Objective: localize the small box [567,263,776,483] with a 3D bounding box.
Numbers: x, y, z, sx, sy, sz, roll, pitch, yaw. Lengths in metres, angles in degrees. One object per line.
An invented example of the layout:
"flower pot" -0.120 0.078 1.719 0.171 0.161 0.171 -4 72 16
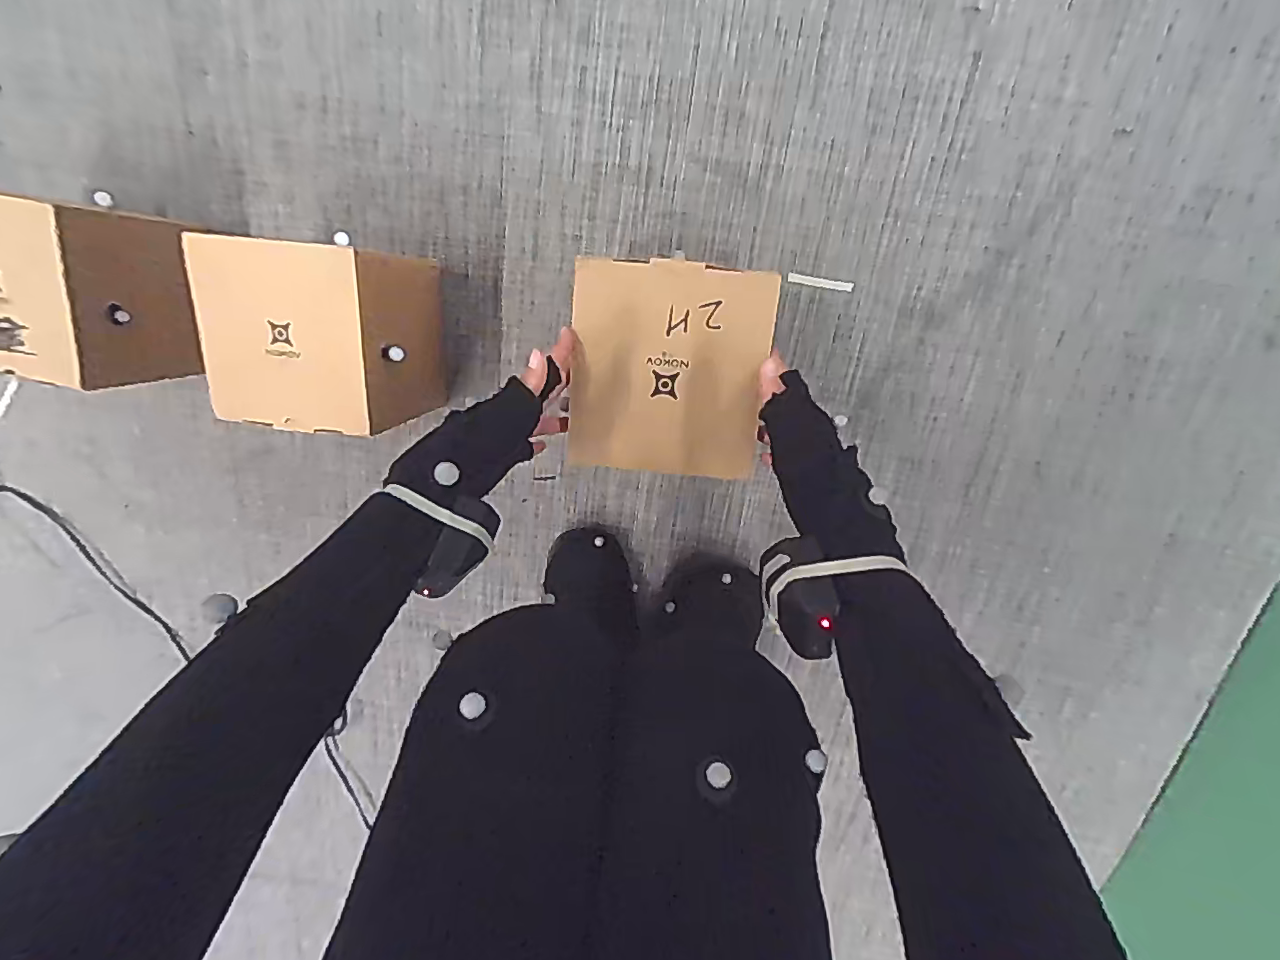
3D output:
"small box" 0.027 -0.112 0.537 0.168 0.176 0.179 6 109 2

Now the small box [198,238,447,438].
"small box" -0.327 -0.158 0.595 0.168 0.176 0.179 6 110 4

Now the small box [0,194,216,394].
"small box" -0.612 -0.209 0.607 0.168 0.176 0.179 11 108 2
